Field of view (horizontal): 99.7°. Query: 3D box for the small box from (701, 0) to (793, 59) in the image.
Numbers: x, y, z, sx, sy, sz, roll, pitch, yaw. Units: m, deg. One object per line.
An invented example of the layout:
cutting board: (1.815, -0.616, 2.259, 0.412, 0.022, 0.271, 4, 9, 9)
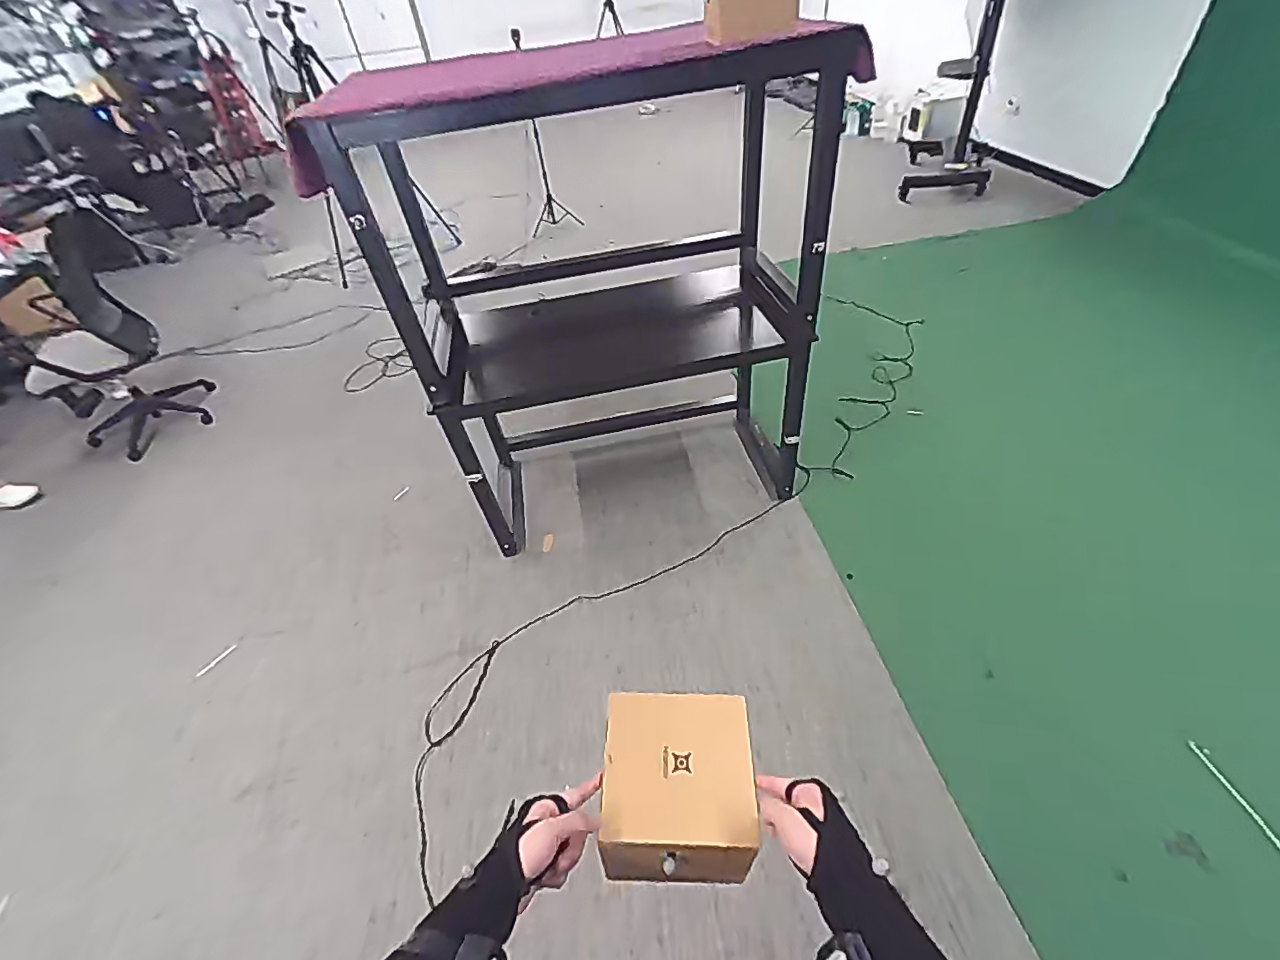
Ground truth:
small box: (0.231, -1.044, 1.182, 0.179, 0.176, 0.168, -9, 45, 0)

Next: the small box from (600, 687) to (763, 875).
small box: (0.048, 0.379, 0.681, 0.179, 0.176, 0.168, -1, 43, 3)
